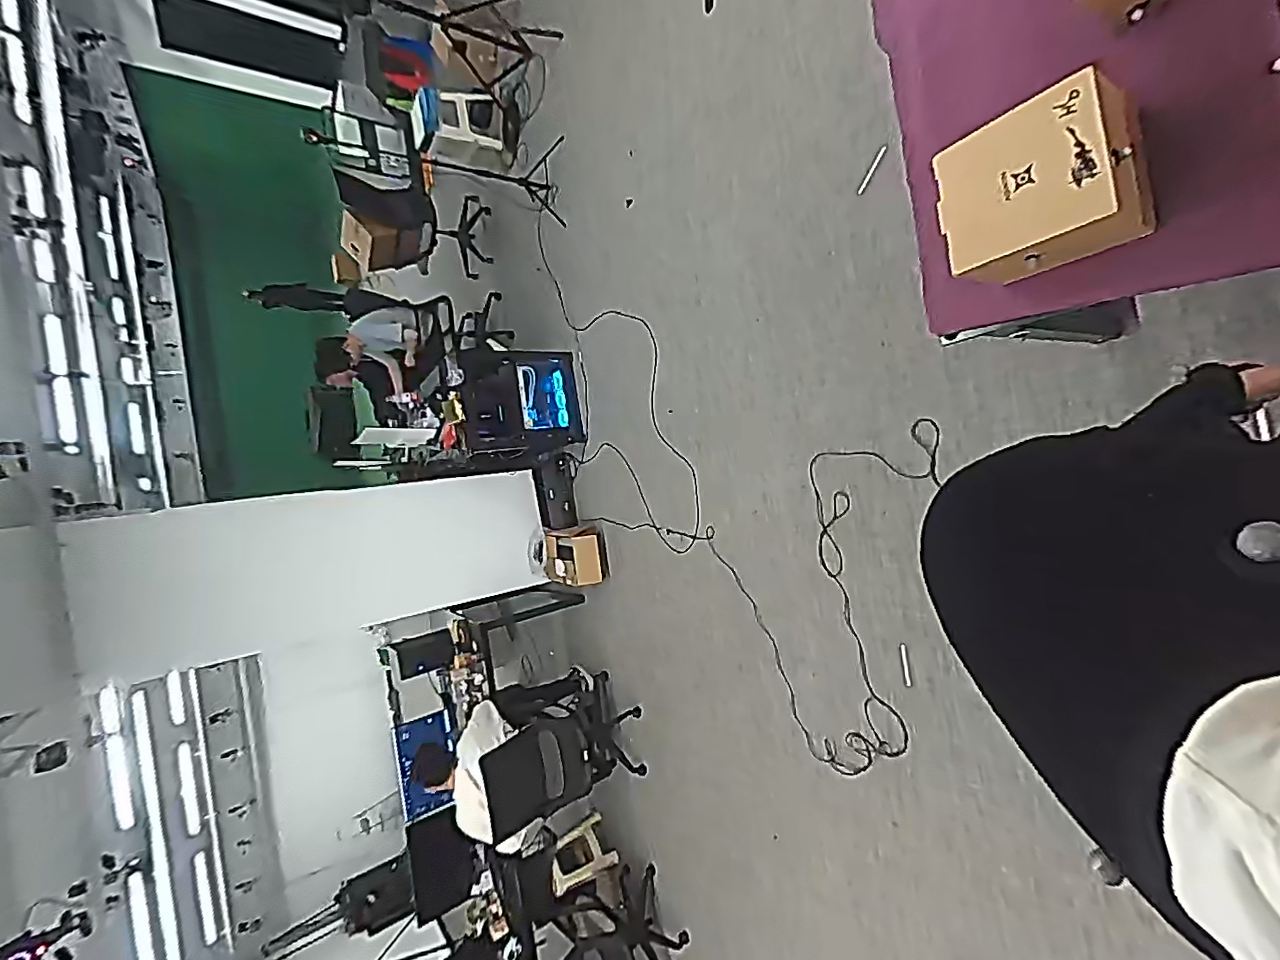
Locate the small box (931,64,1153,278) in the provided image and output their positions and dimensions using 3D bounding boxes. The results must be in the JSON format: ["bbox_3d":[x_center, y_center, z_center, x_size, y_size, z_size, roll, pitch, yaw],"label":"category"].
[{"bbox_3d":[0.517,-0.377,0.701,0.179,0.176,0.168,-9,90,56],"label":"small box"}]
